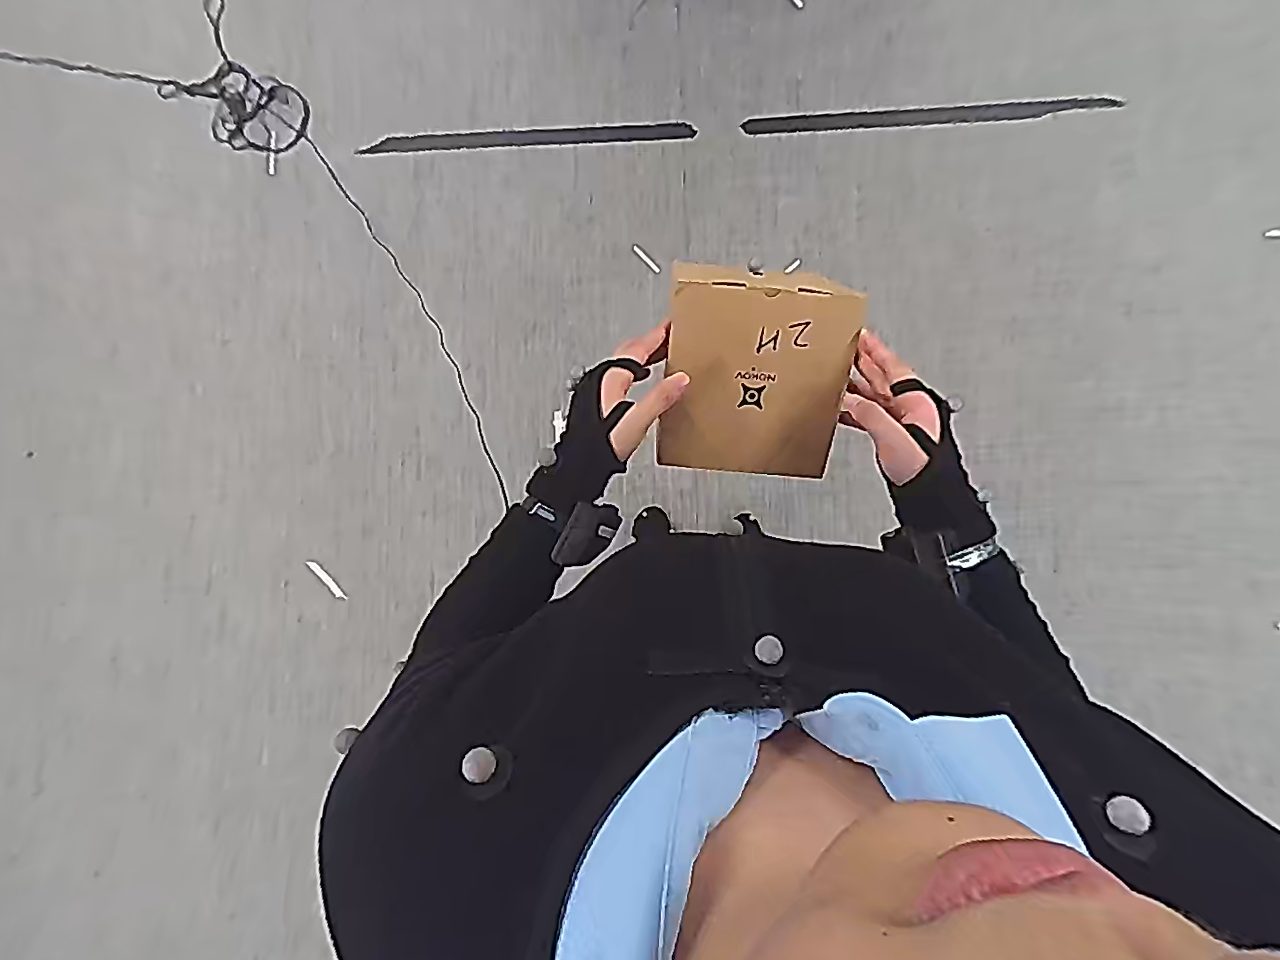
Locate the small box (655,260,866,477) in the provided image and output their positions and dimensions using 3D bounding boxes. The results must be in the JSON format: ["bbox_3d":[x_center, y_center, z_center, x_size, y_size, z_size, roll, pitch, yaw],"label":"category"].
[{"bbox_3d":[0.107,-0.123,0.562,0.168,0.176,0.179,5,116,0],"label":"small box"}]
